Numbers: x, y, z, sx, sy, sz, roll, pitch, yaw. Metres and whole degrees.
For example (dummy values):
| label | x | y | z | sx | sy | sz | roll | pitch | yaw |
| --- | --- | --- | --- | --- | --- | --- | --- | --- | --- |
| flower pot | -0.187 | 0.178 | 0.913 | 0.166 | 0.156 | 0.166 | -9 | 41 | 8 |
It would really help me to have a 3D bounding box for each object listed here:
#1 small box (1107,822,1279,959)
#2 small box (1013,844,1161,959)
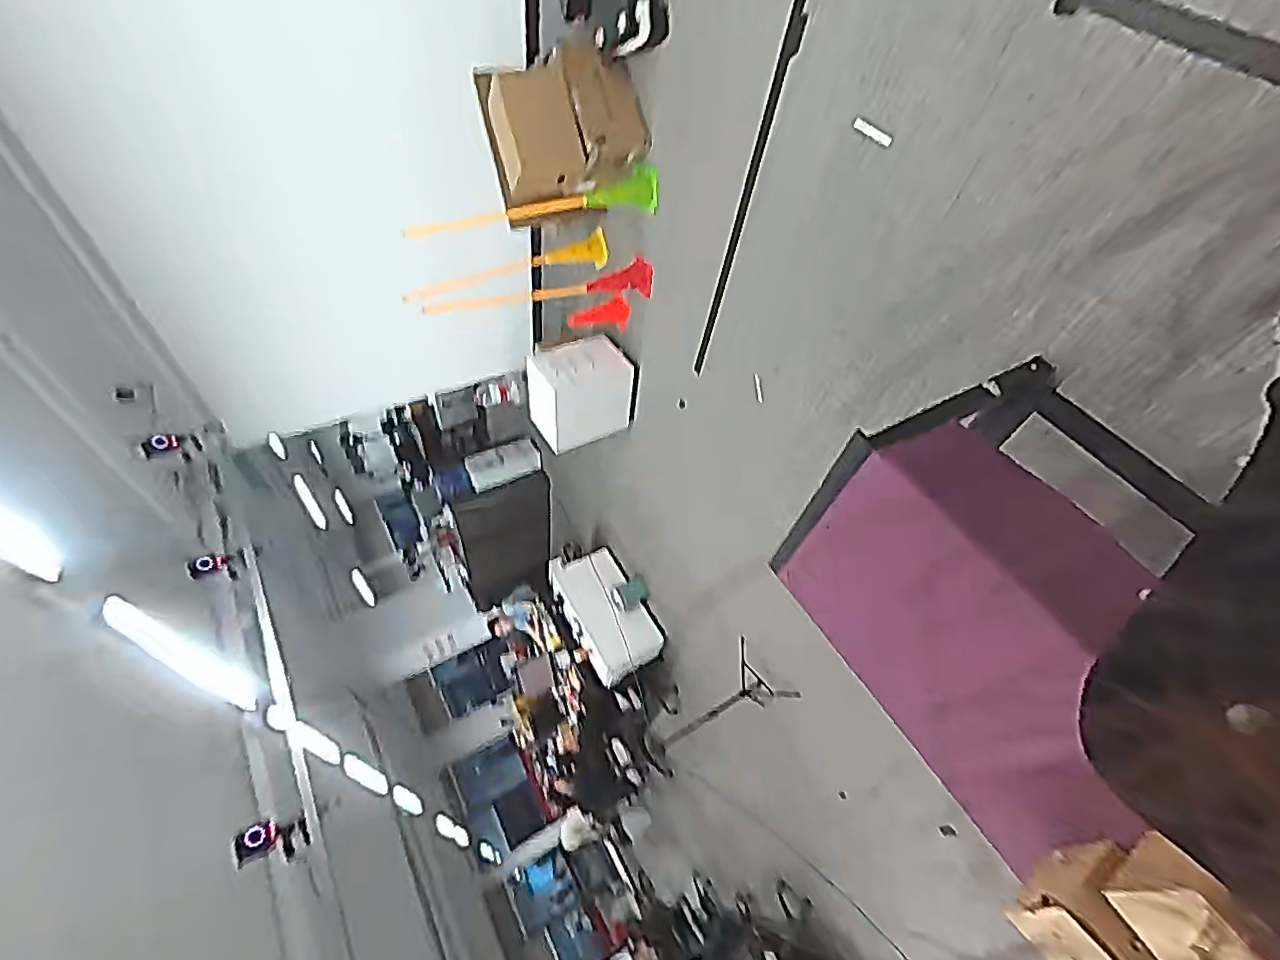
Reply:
| label | x | y | z | sx | sy | sz | roll | pitch | yaw |
| --- | --- | --- | --- | --- | --- | --- | --- | --- | --- |
| small box | 0.863 | 0.642 | 0.788 | 0.179 | 0.176 | 0.168 | 53 | 152 | 28 |
| small box | 0.838 | 0.800 | 0.969 | 0.179 | 0.176 | 0.168 | 52 | 151 | 30 |
